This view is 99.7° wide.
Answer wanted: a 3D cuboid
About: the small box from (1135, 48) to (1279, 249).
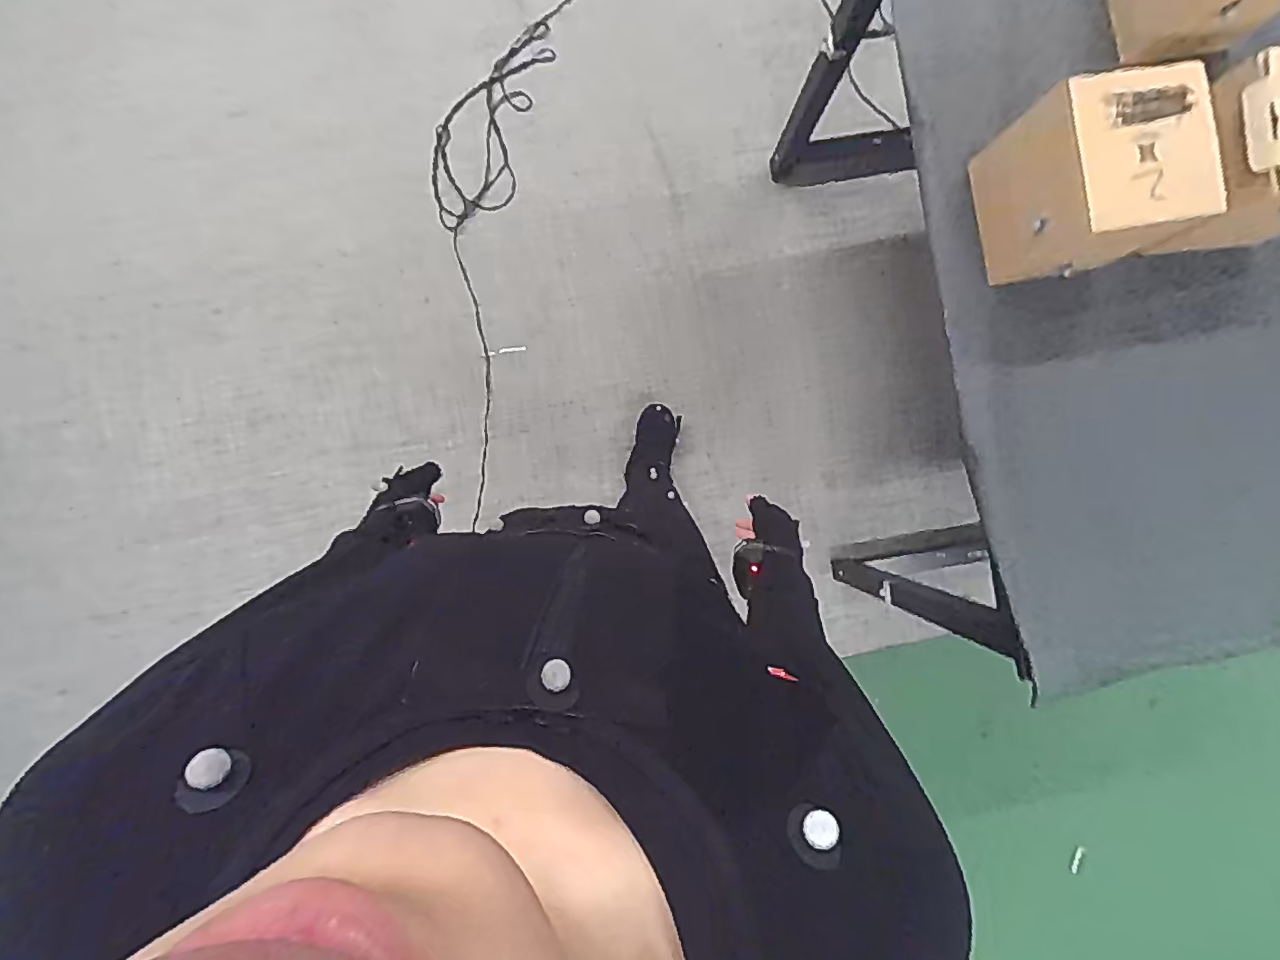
[{"bbox_3d":[0.788,-0.413,0.694,0.179,0.176,0.168,-5,91,-3],"label":"small box"}]
